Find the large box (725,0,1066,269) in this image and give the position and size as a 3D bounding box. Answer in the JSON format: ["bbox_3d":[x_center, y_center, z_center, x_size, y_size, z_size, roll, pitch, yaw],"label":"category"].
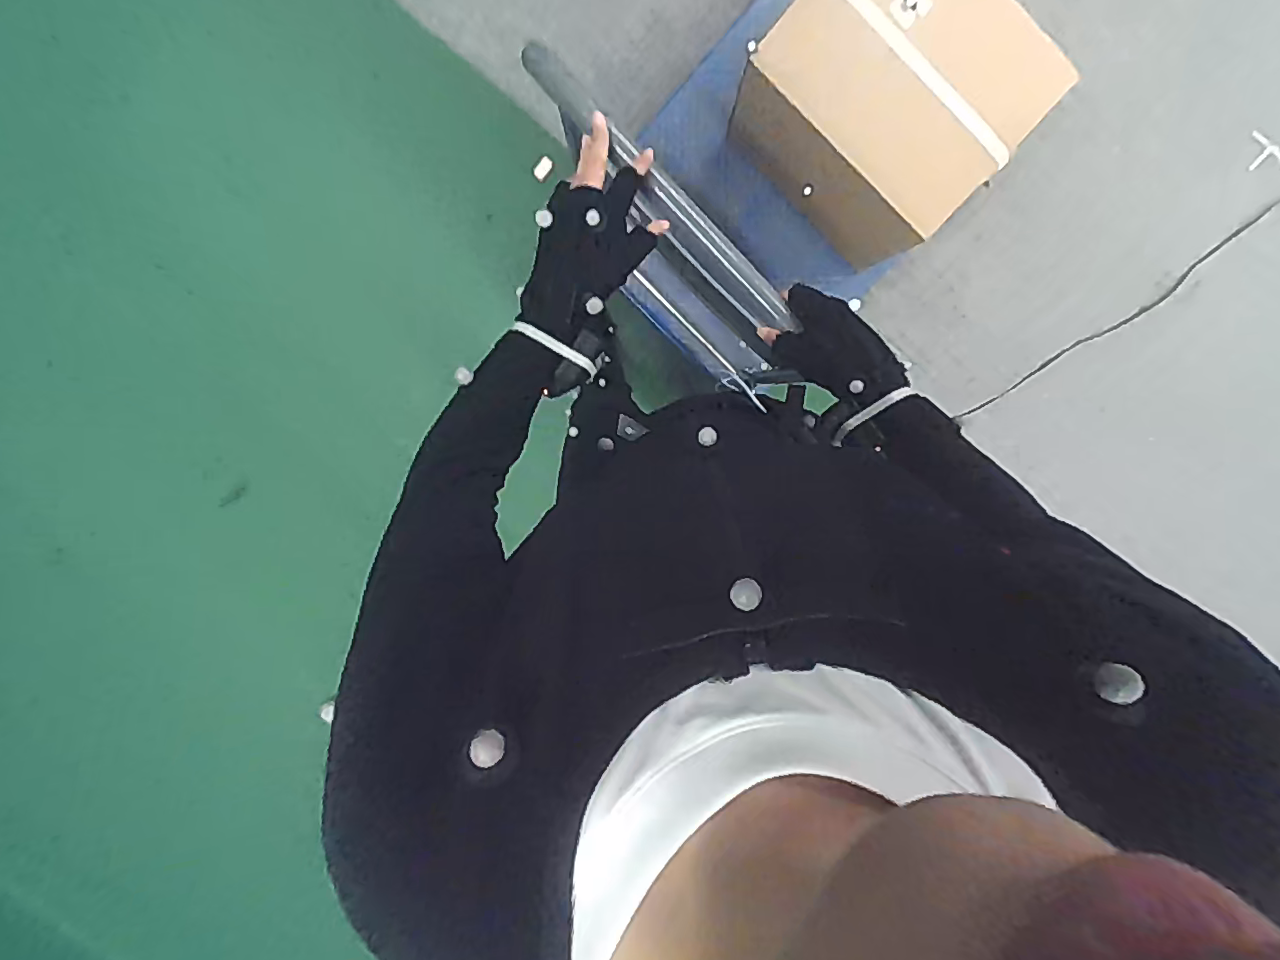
[{"bbox_3d":[0.412,-0.657,0.975,0.408,0.320,0.320,42,100,-5],"label":"large box"}]
